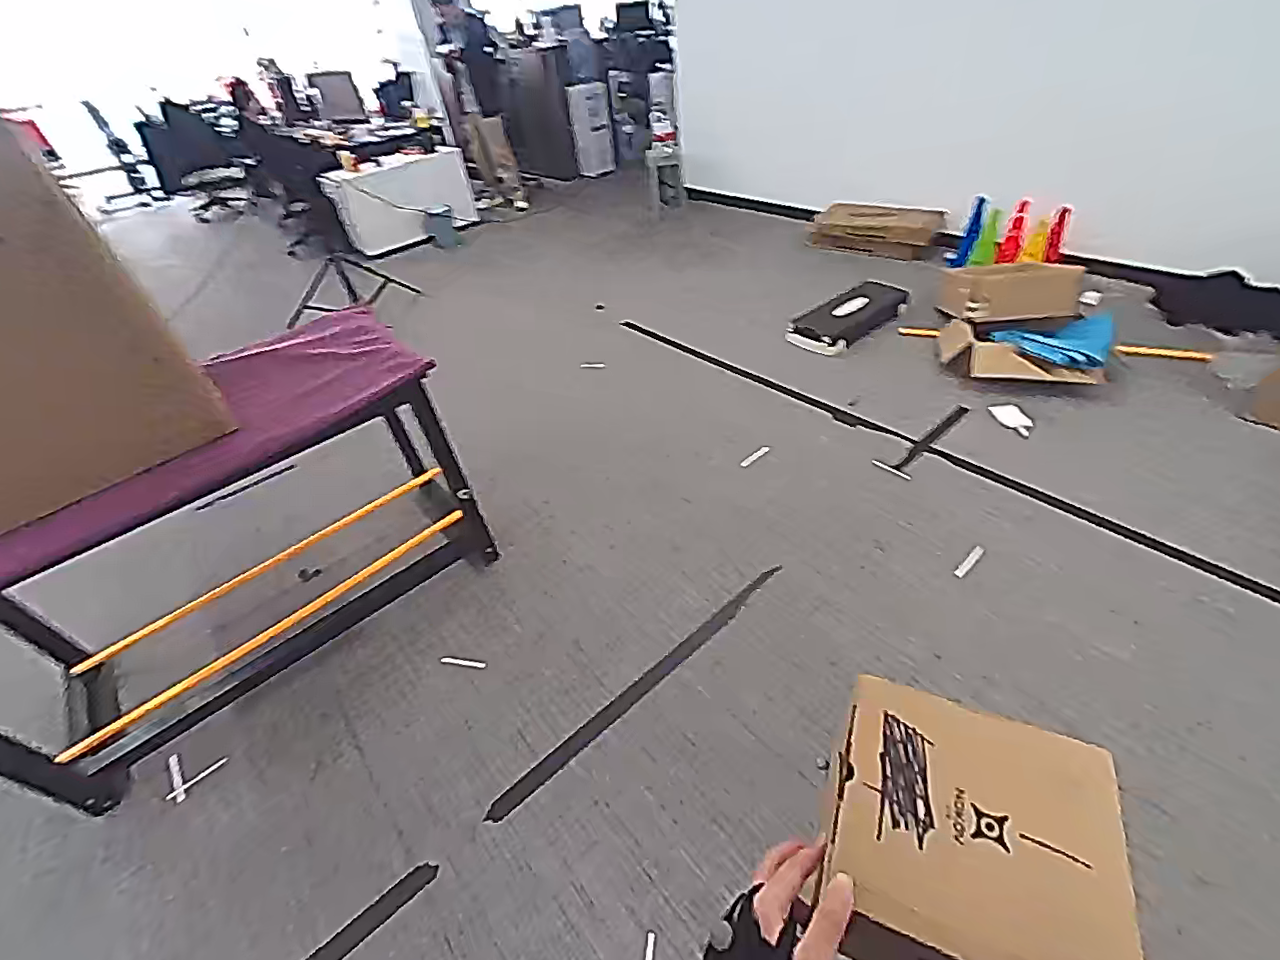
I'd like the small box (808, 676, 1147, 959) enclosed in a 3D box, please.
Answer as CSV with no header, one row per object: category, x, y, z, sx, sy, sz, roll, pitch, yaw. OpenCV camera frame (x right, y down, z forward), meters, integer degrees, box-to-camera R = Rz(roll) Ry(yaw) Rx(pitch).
small box,0.239,0.291,0.424,0.179,0.176,0.168,13,47,21
